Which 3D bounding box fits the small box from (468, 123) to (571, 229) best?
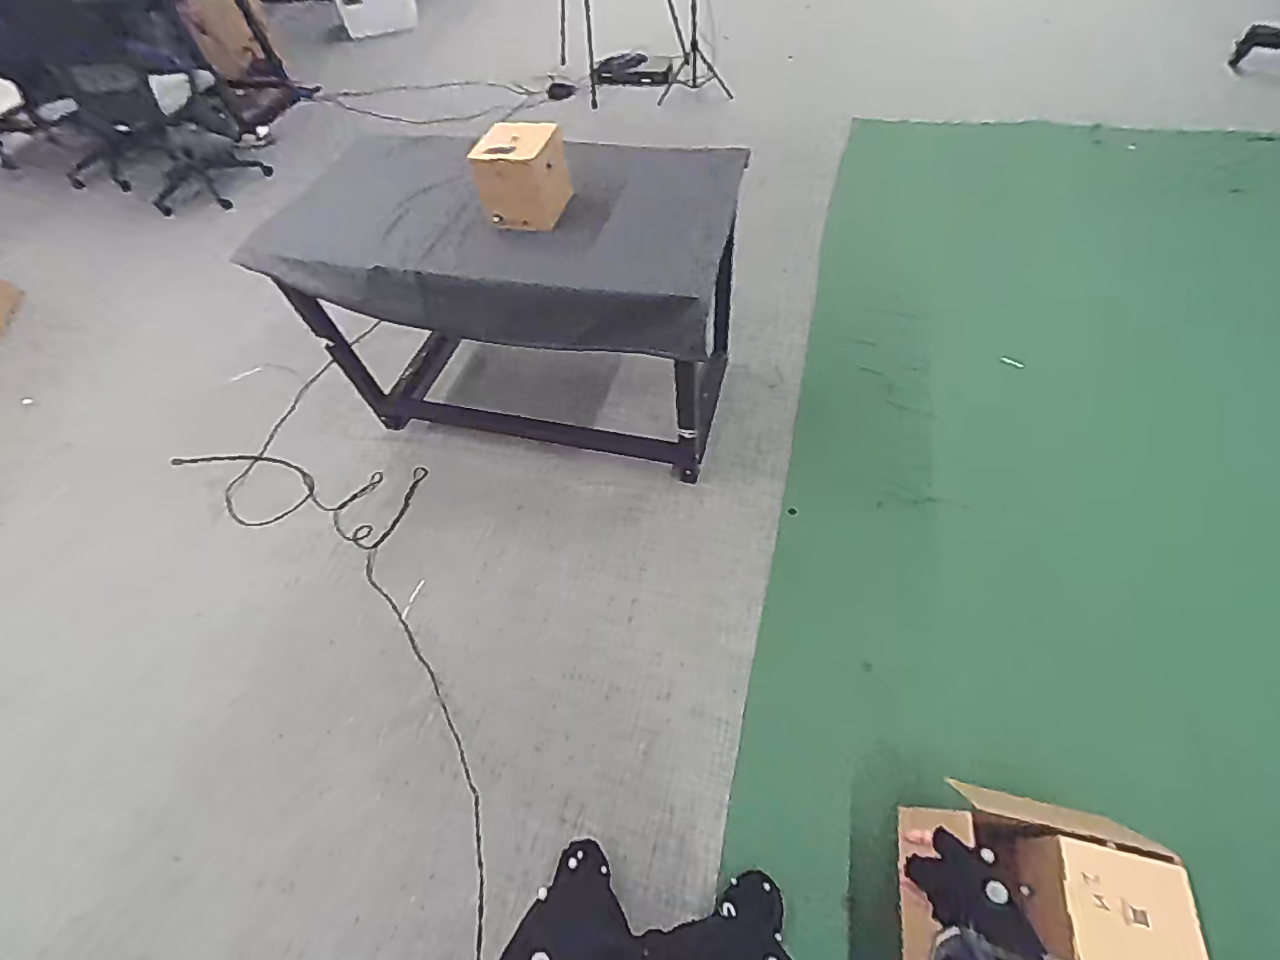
[{"bbox_3d":[-0.278,-0.728,1.299,0.168,0.176,0.179,9,57,13],"label":"small box"}]
